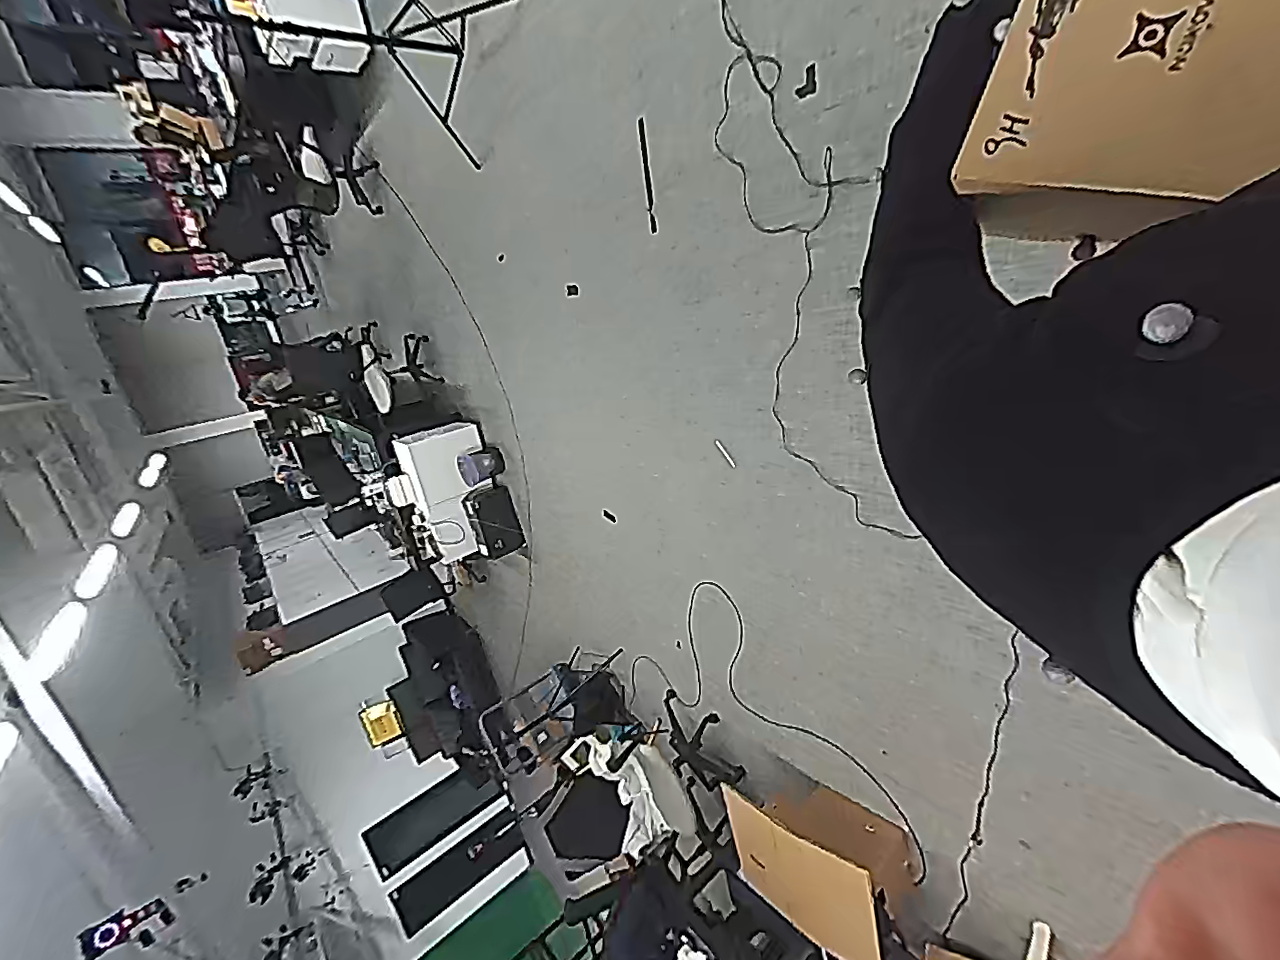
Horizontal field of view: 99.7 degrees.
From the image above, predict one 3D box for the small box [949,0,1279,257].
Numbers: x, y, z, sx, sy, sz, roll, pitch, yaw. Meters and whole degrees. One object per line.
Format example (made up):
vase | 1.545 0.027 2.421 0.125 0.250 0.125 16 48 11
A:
small box | 0.357 -0.268 0.382 0.179 0.176 0.168 28 112 32
